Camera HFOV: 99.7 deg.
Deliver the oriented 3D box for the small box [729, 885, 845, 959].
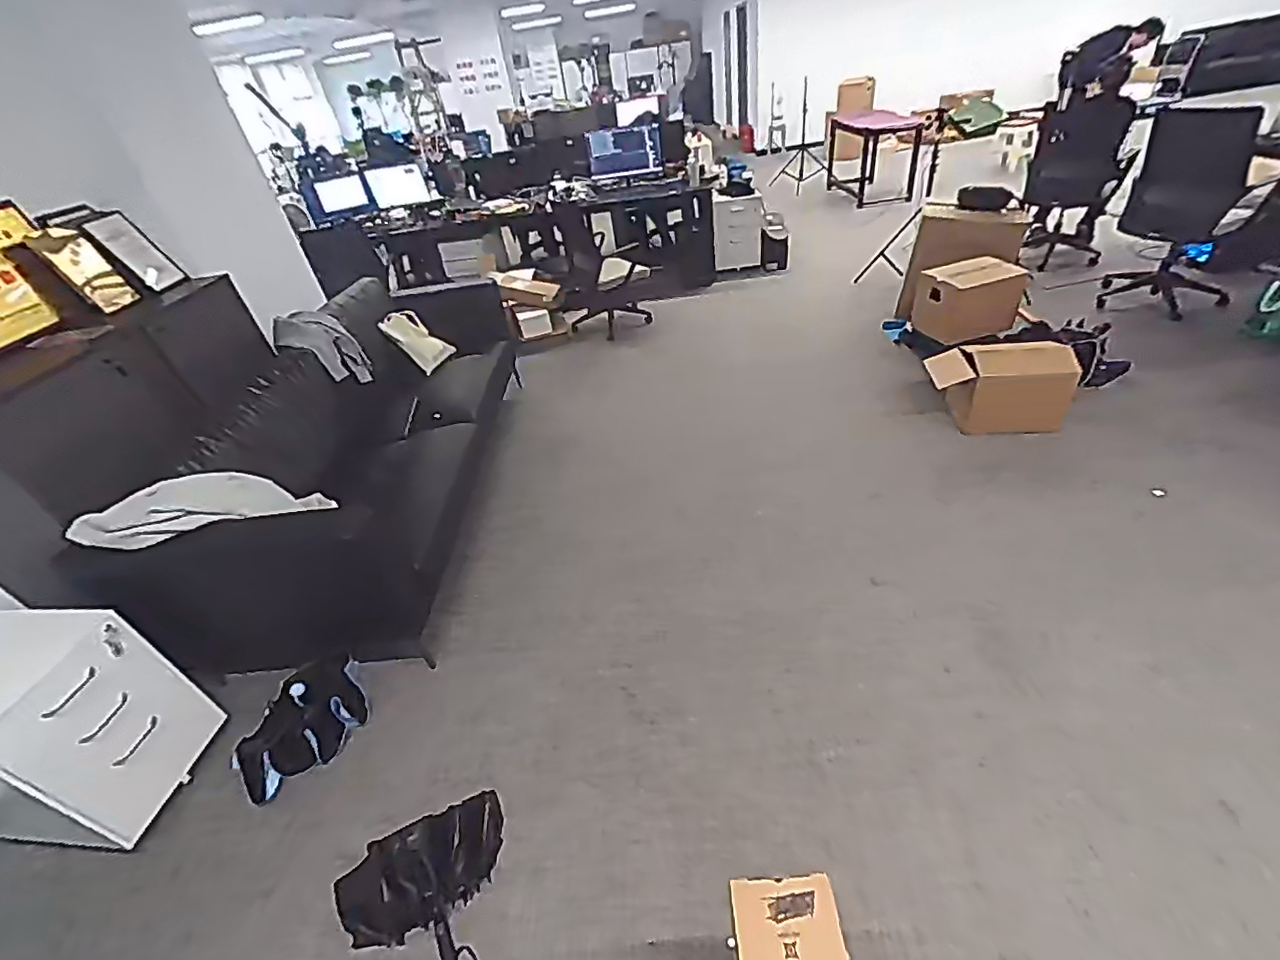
[{"bbox_3d":[0.233,0.781,0.864,0.168,0.176,0.179,-5,38,4],"label":"small box"}]
